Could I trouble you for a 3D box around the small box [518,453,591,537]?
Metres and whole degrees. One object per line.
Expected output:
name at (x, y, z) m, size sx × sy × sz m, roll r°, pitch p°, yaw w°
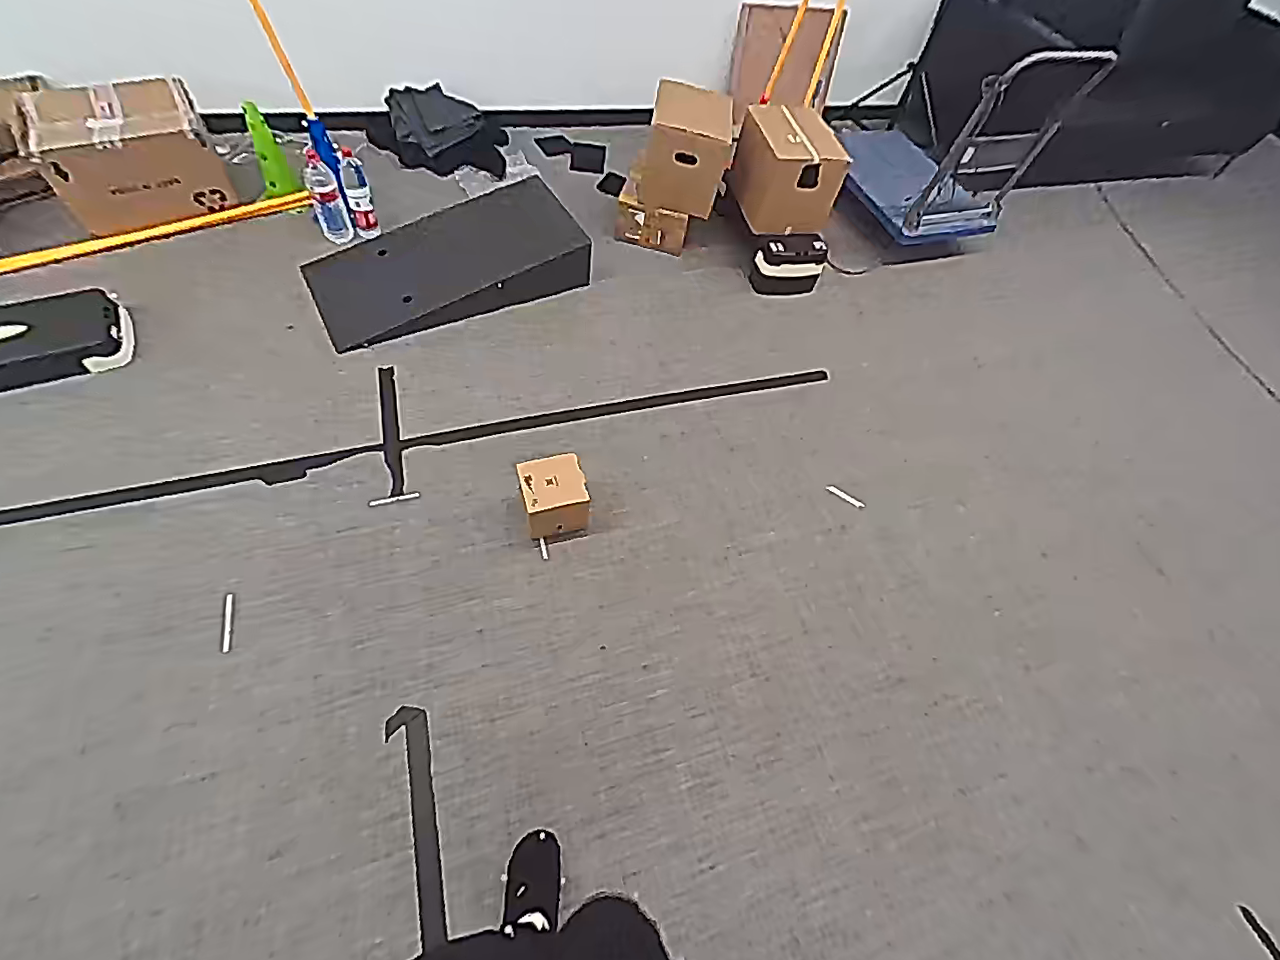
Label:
small box at (-0.251, 0.046, 1.569) m, size 0.179 × 0.176 × 0.168 m, roll -11°, pitch 60°, yaw -16°
